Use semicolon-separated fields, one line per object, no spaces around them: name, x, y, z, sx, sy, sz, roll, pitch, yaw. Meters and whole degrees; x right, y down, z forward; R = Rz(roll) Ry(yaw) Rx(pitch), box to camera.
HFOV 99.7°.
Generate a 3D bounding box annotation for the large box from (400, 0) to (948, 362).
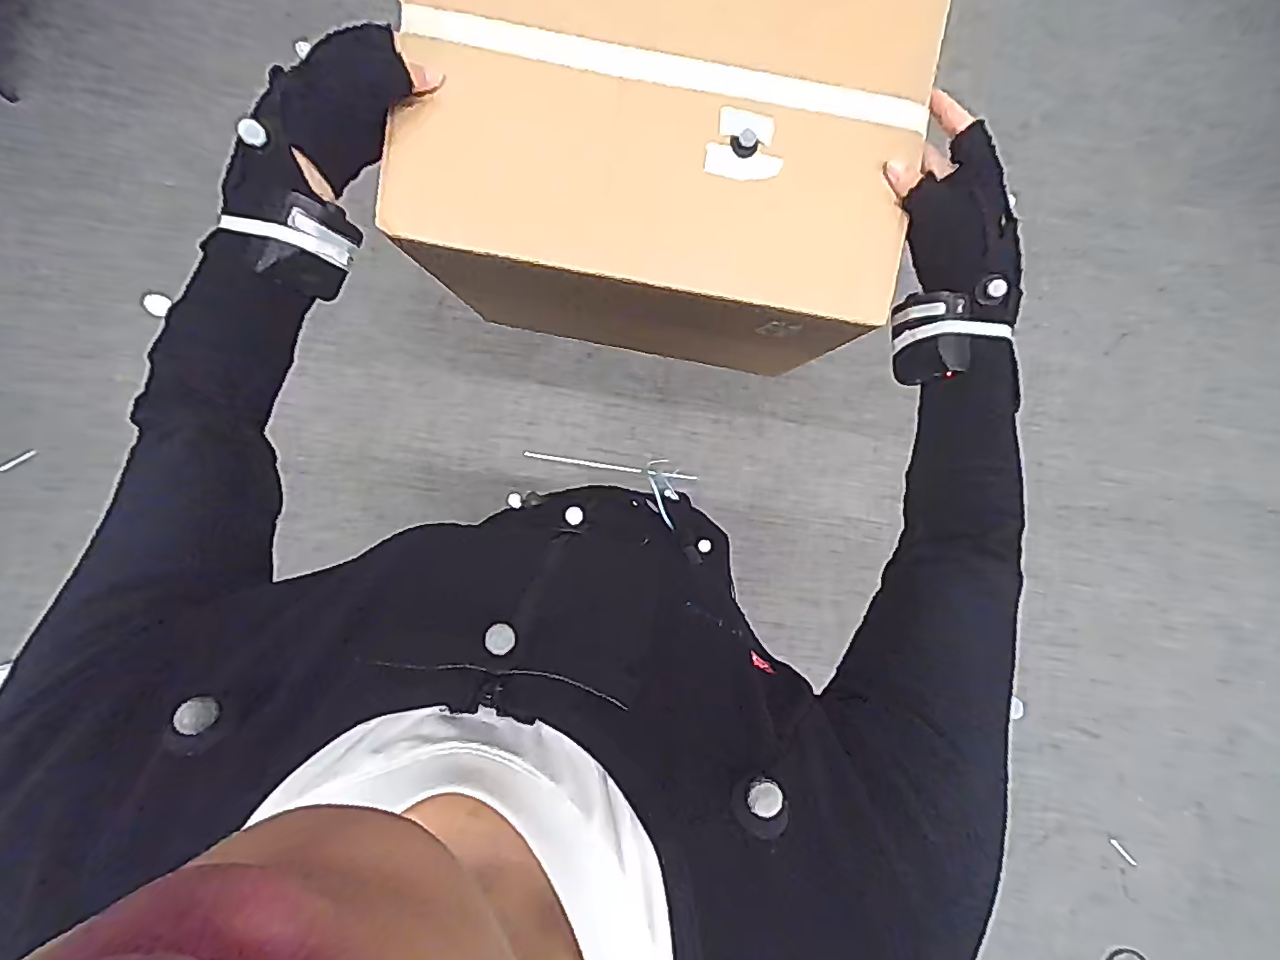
large box;0.024;-0.328;0.565;0.408;0.320;0.320;10;94;-3
